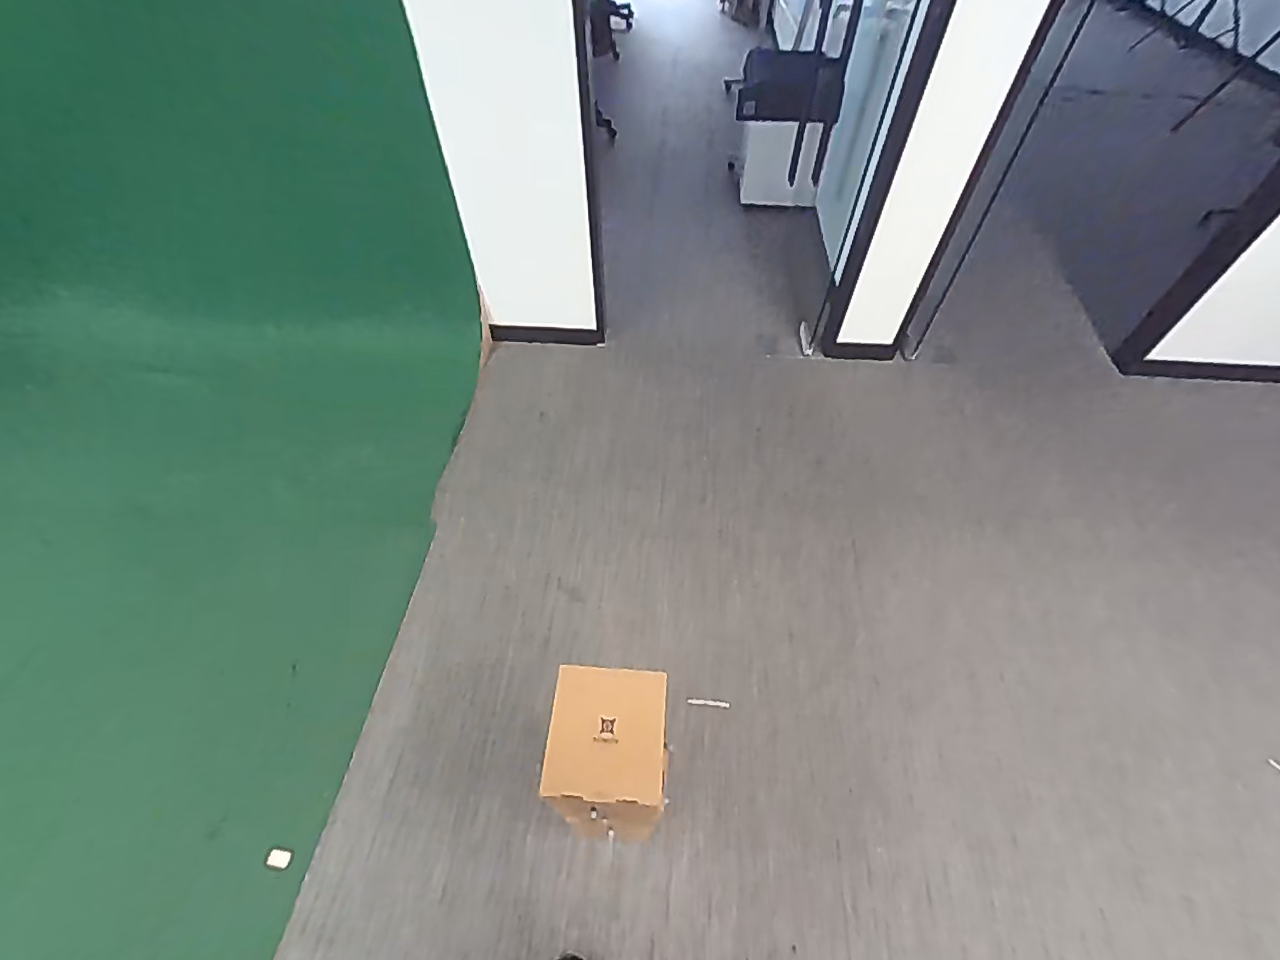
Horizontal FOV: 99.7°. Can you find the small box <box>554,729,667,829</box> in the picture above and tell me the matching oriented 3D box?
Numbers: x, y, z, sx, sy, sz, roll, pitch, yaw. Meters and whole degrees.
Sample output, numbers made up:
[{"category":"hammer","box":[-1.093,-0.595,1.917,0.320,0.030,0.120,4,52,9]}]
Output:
[{"category":"small box","box":[-0.044,0.512,0.958,0.179,0.176,0.168,2,52,3]}]

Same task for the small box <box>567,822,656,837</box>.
[{"category":"small box","box":[-0.051,0.608,1.092,0.168,0.176,0.179,0,53,1]}]

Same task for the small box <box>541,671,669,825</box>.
[{"category":"small box","box":[-0.046,0.413,0.830,0.168,0.176,0.179,4,53,3]}]
